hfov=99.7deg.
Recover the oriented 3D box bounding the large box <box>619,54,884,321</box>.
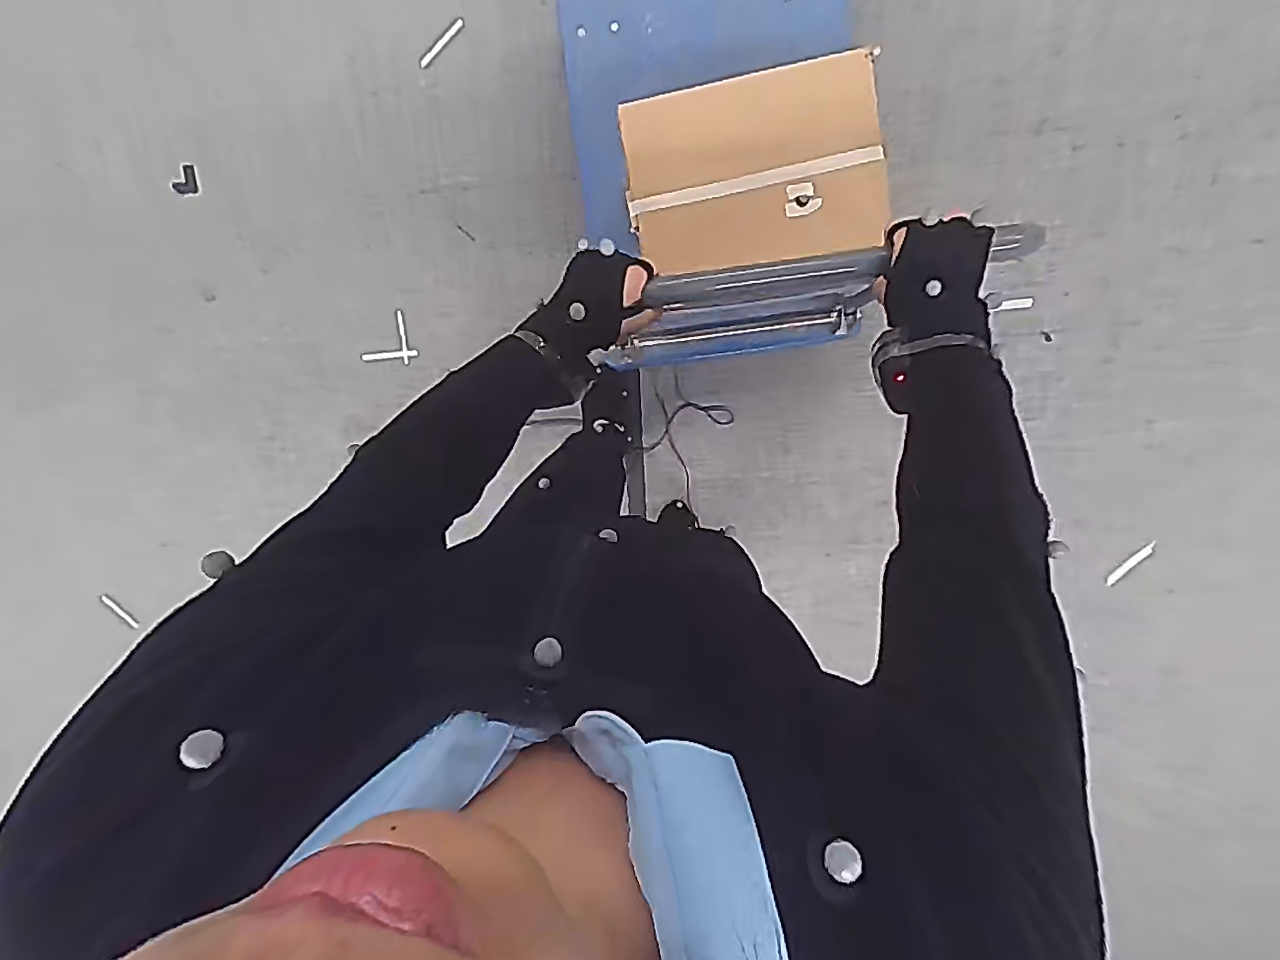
[{"bbox_3d":[0.190,-0.517,1.040,0.408,0.320,0.320,-10,100,4],"label":"large box"}]
